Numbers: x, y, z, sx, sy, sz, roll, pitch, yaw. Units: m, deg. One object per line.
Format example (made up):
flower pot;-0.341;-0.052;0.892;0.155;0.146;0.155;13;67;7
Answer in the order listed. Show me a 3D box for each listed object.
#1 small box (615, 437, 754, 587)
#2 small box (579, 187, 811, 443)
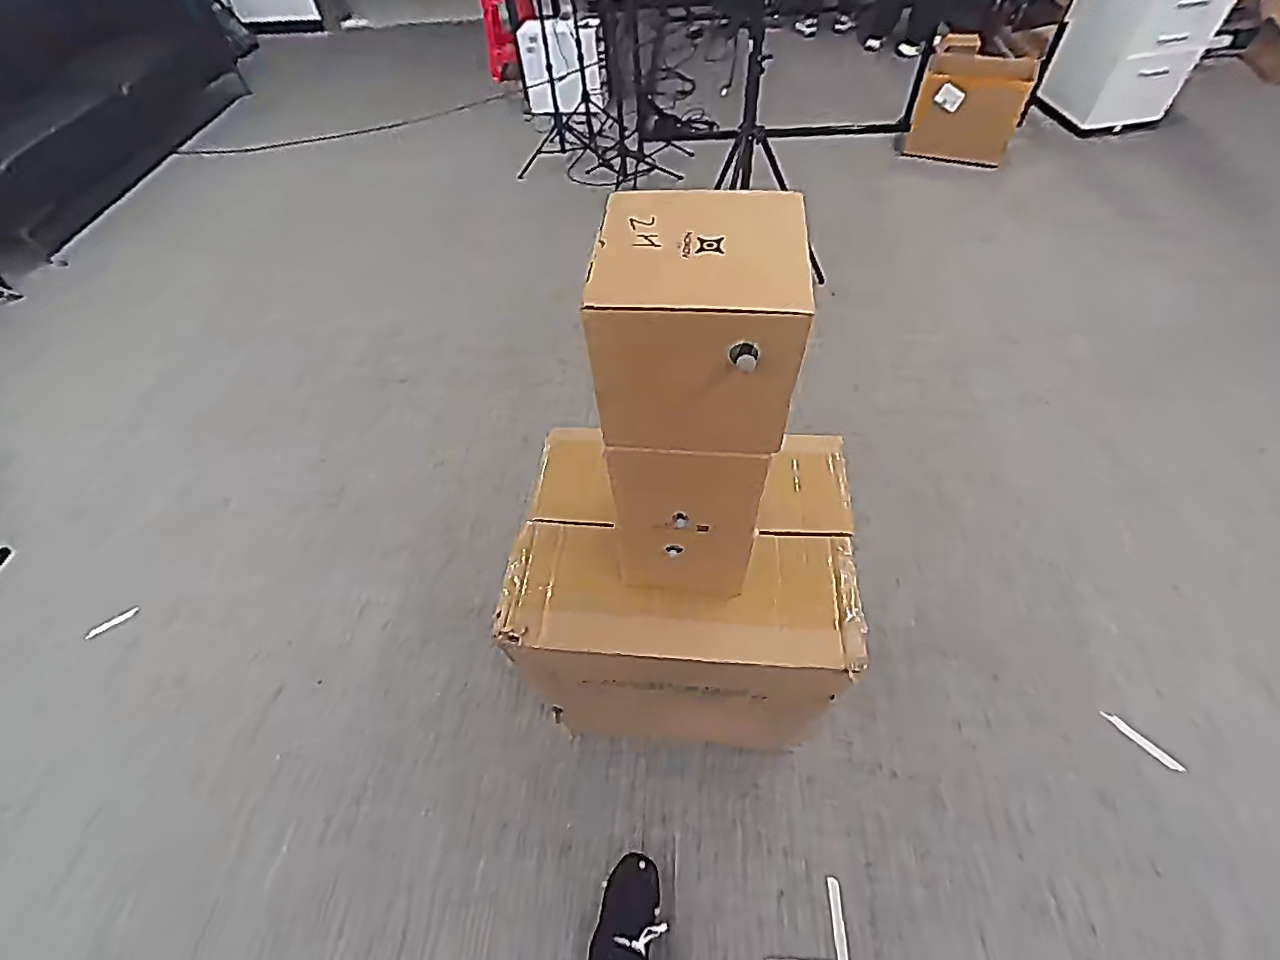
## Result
small box;0.068;0.042;0.779;0.179;0.176;0.168;4;55;7
small box;0.053;-0.149;0.511;0.179;0.176;0.168;3;55;7
